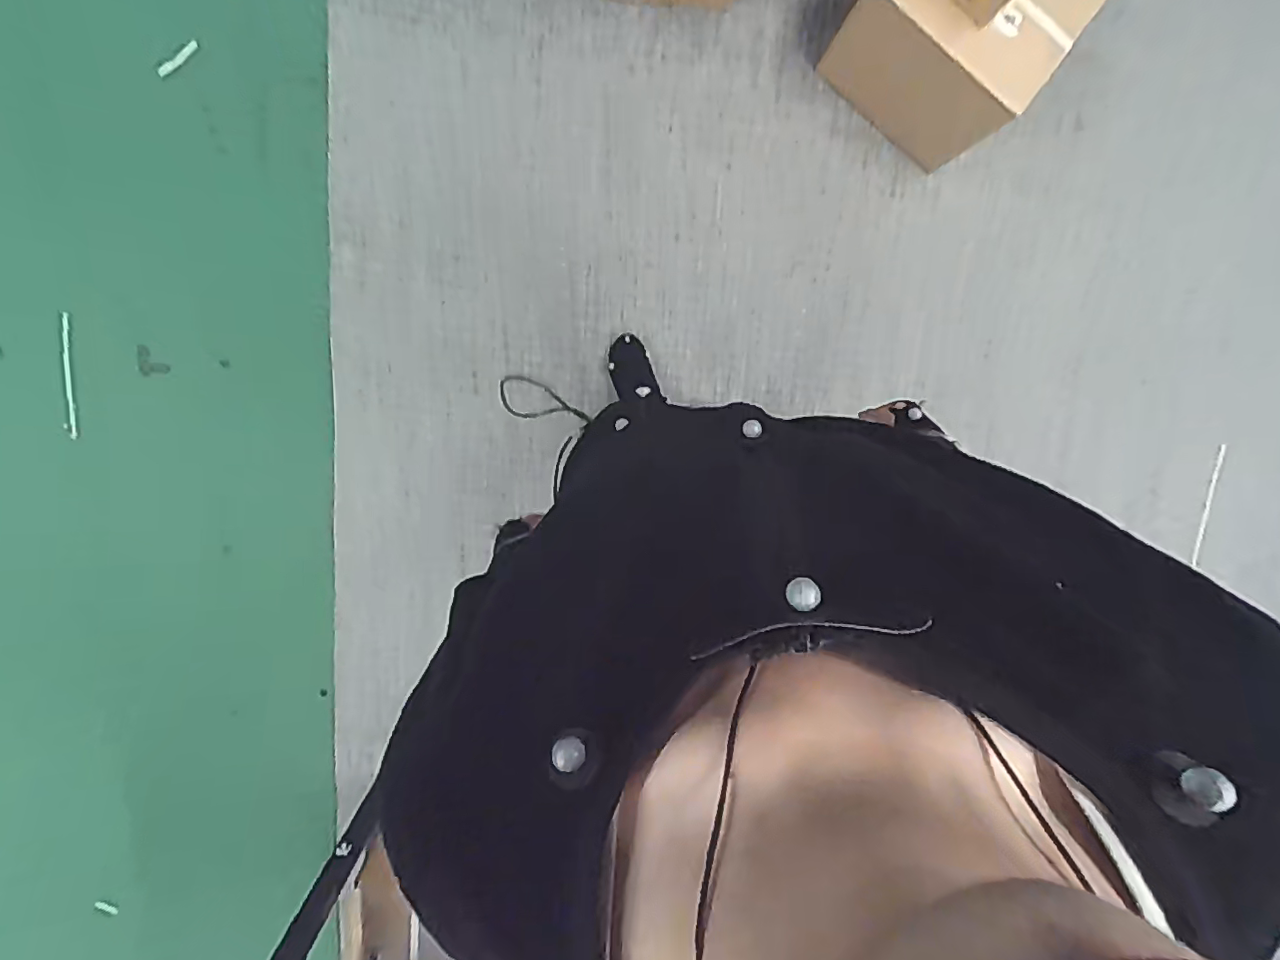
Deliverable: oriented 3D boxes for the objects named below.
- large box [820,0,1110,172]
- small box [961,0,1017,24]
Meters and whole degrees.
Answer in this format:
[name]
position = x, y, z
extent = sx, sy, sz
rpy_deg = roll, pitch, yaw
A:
[large box]
position = 0.691, -0.990, 1.198
extent = 0.408, 0.320, 0.320
rpy_deg = 35, 97, -9
[small box]
position = 0.672, -0.980, 0.951
extent = 0.168, 0.176, 0.179
rpy_deg = 39, 95, -8
